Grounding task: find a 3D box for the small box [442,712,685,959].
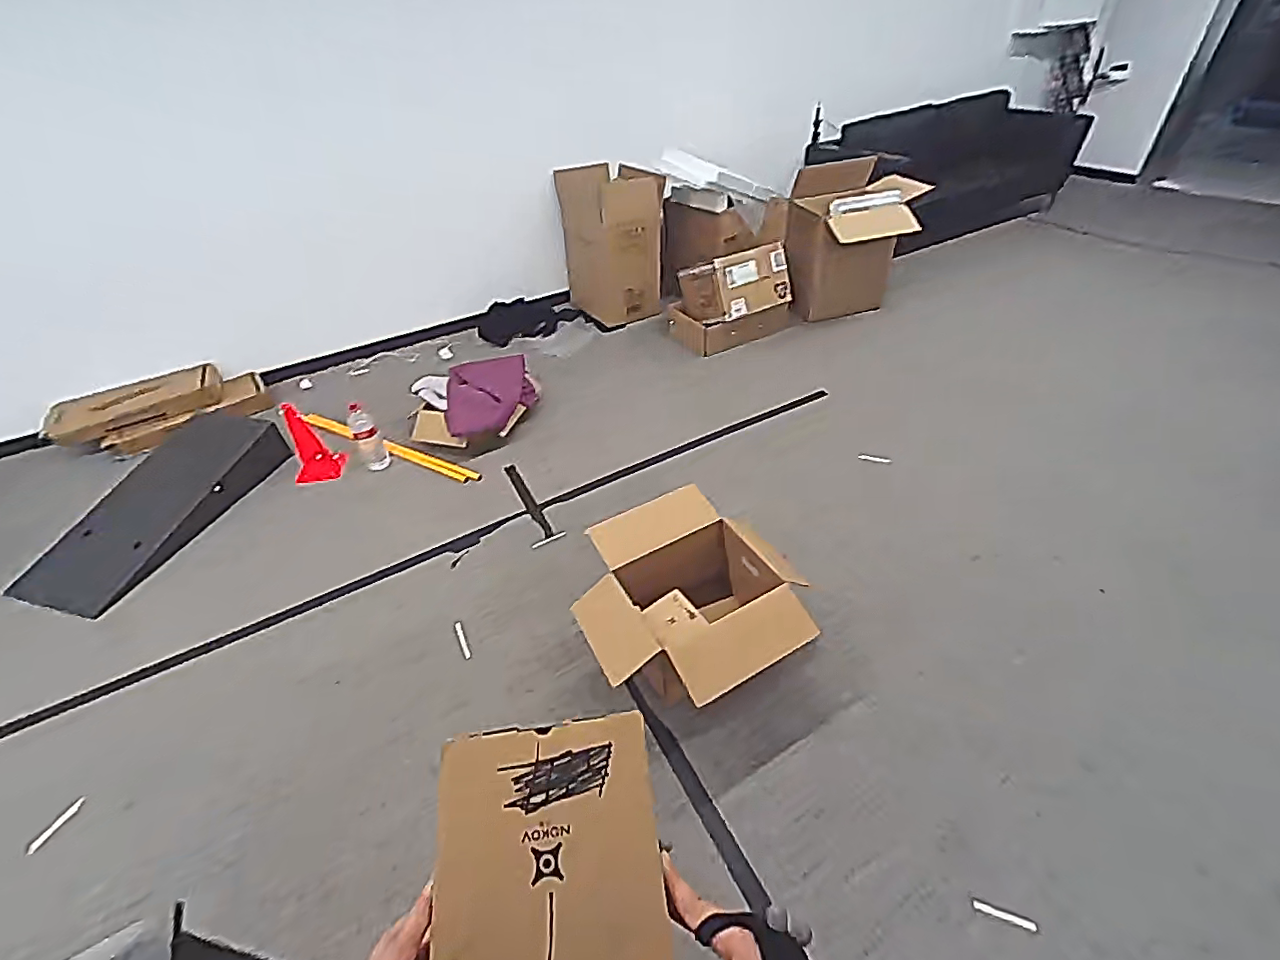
[{"bbox_3d":[-0.062,0.321,0.467,0.168,0.176,0.179,-6,54,-6],"label":"small box"}]
